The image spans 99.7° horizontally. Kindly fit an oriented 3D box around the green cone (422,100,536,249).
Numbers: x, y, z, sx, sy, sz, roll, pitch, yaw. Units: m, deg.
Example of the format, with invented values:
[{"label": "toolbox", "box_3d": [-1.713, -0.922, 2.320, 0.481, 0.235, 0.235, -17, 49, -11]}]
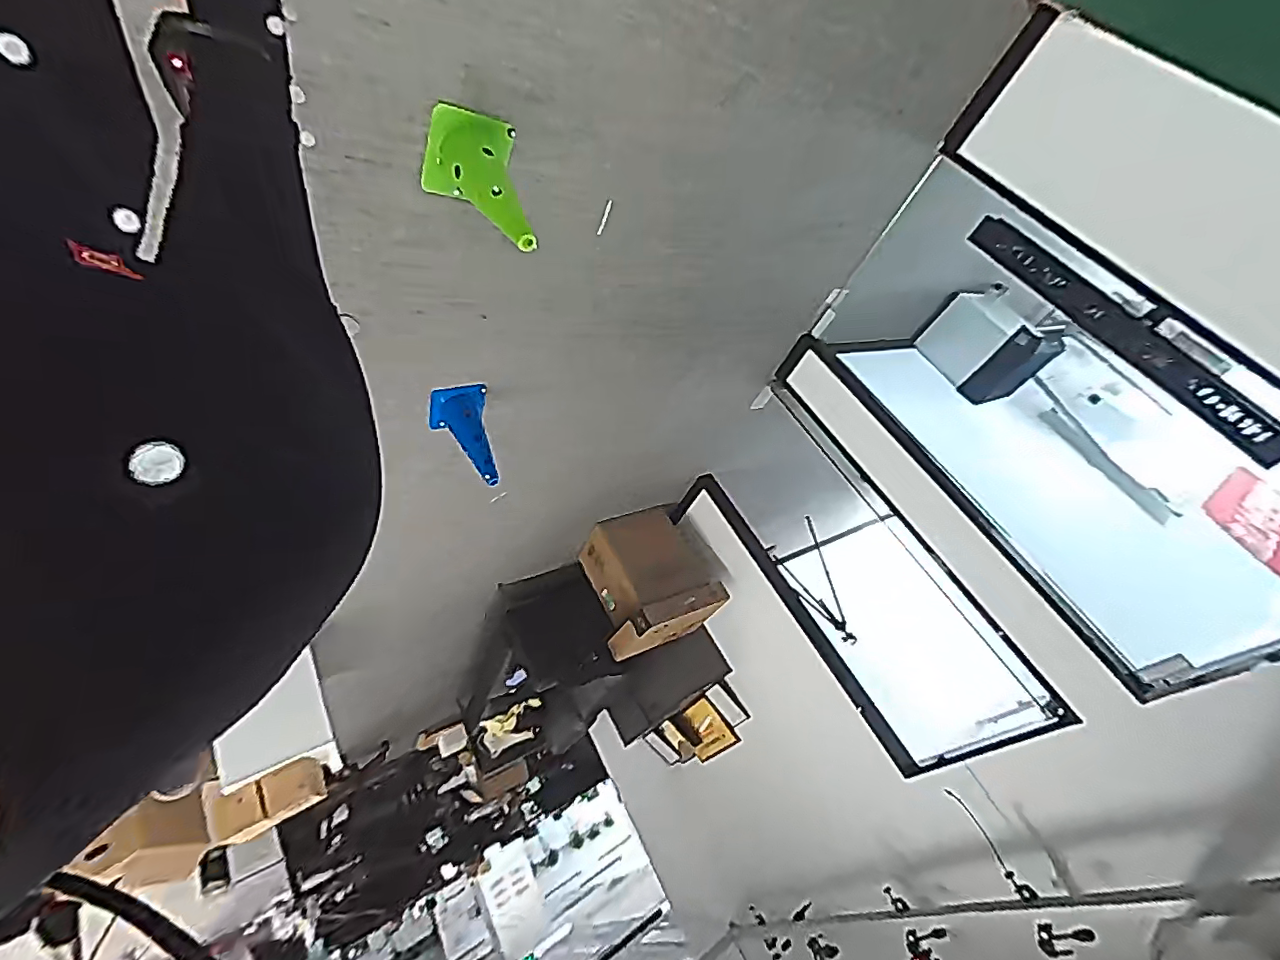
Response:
[{"label": "green cone", "box_3d": [-0.329, -0.653, 1.229, 0.200, 0.368, 0.202, -11, 148, -39]}]
